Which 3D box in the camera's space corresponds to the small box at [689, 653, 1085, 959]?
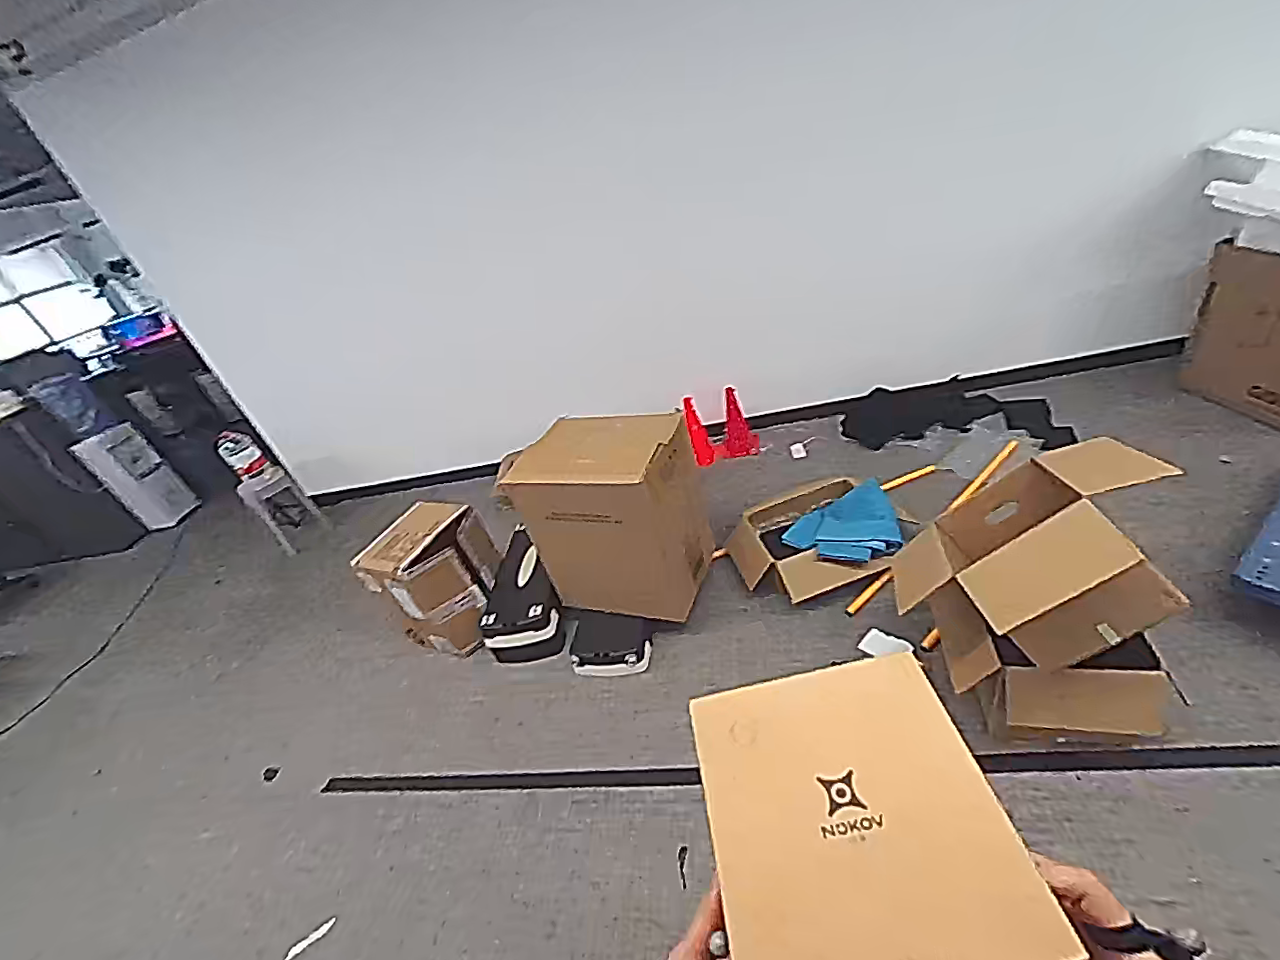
[{"bbox_3d":[0.139,0.254,0.367,0.168,0.176,0.179,-15,35,4],"label":"small box"}]
